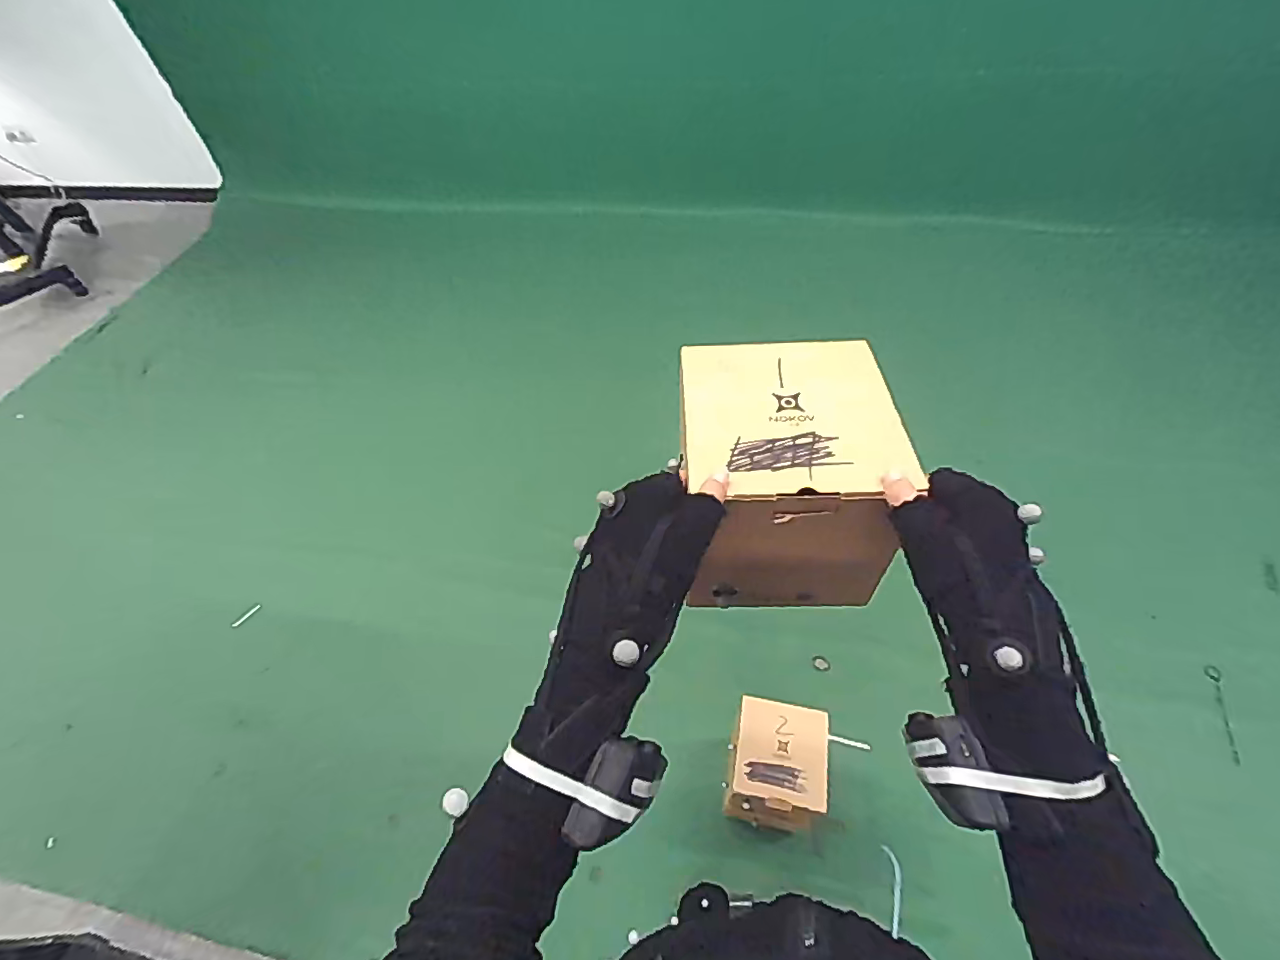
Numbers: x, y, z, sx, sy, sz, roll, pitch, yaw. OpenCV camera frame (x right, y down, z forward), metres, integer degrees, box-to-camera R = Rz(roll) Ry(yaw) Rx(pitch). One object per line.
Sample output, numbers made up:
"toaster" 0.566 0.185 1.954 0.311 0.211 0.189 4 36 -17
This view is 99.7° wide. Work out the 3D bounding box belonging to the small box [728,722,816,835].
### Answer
"small box" 0.288 0.664 1.200 0.168 0.176 0.179 7 54 11
